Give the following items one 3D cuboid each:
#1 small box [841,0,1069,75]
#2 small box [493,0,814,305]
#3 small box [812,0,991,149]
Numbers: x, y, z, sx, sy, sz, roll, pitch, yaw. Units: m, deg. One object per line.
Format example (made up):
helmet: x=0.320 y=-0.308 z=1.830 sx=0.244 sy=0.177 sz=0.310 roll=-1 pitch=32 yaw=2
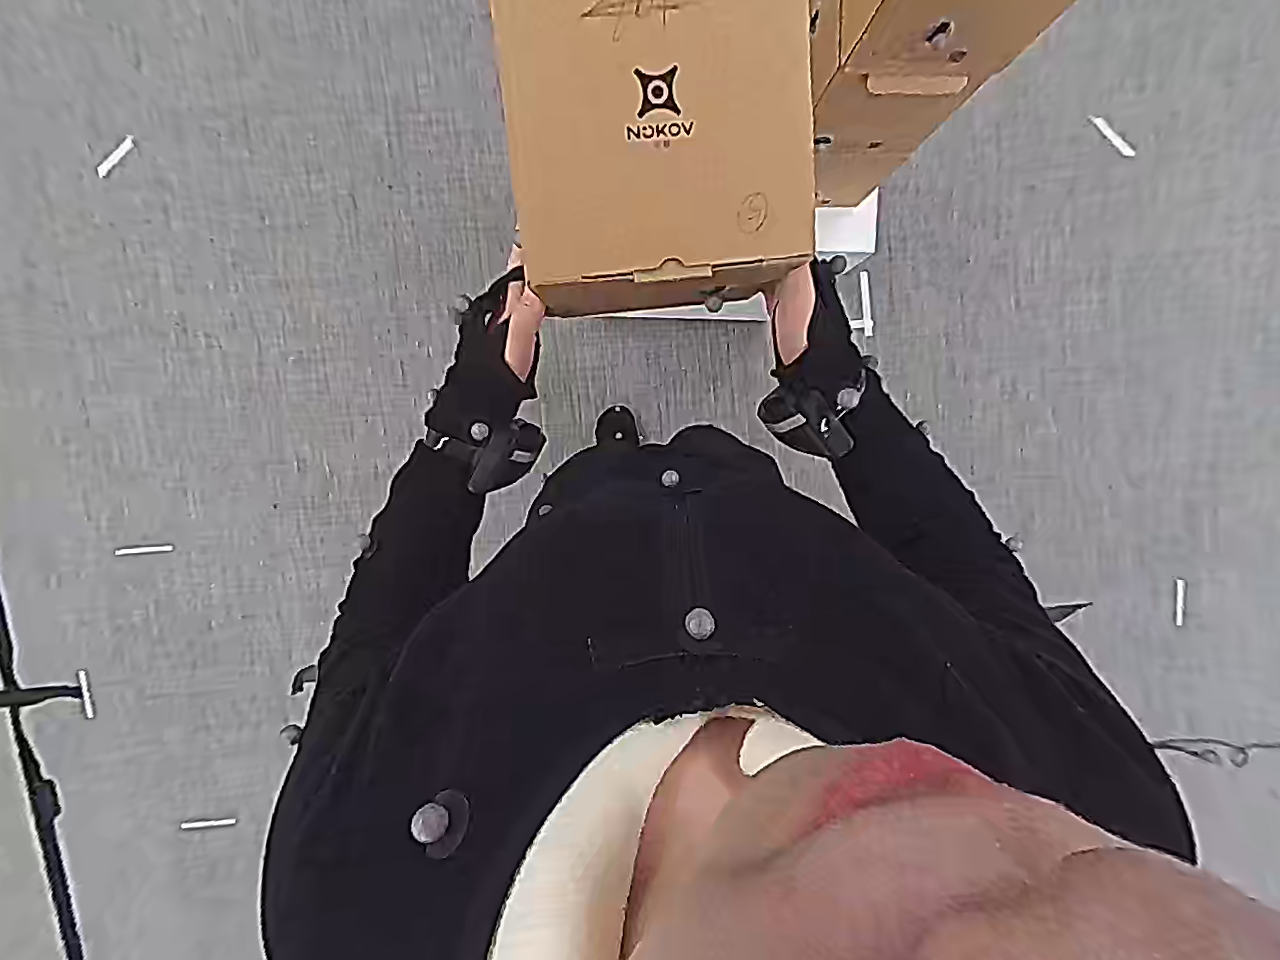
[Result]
small box: x=0.281 y=-0.487 z=0.453 sx=0.168 sy=0.176 sz=0.179 roll=-1 pitch=96 yaw=-2
small box: x=0.008 y=-0.218 z=0.363 sx=0.168 sy=0.176 sz=0.179 roll=-5 pitch=101 yaw=-1
small box: x=0.274 y=-0.504 z=0.614 sx=0.168 sy=0.176 sz=0.179 roll=-1 pitch=95 yaw=-2
